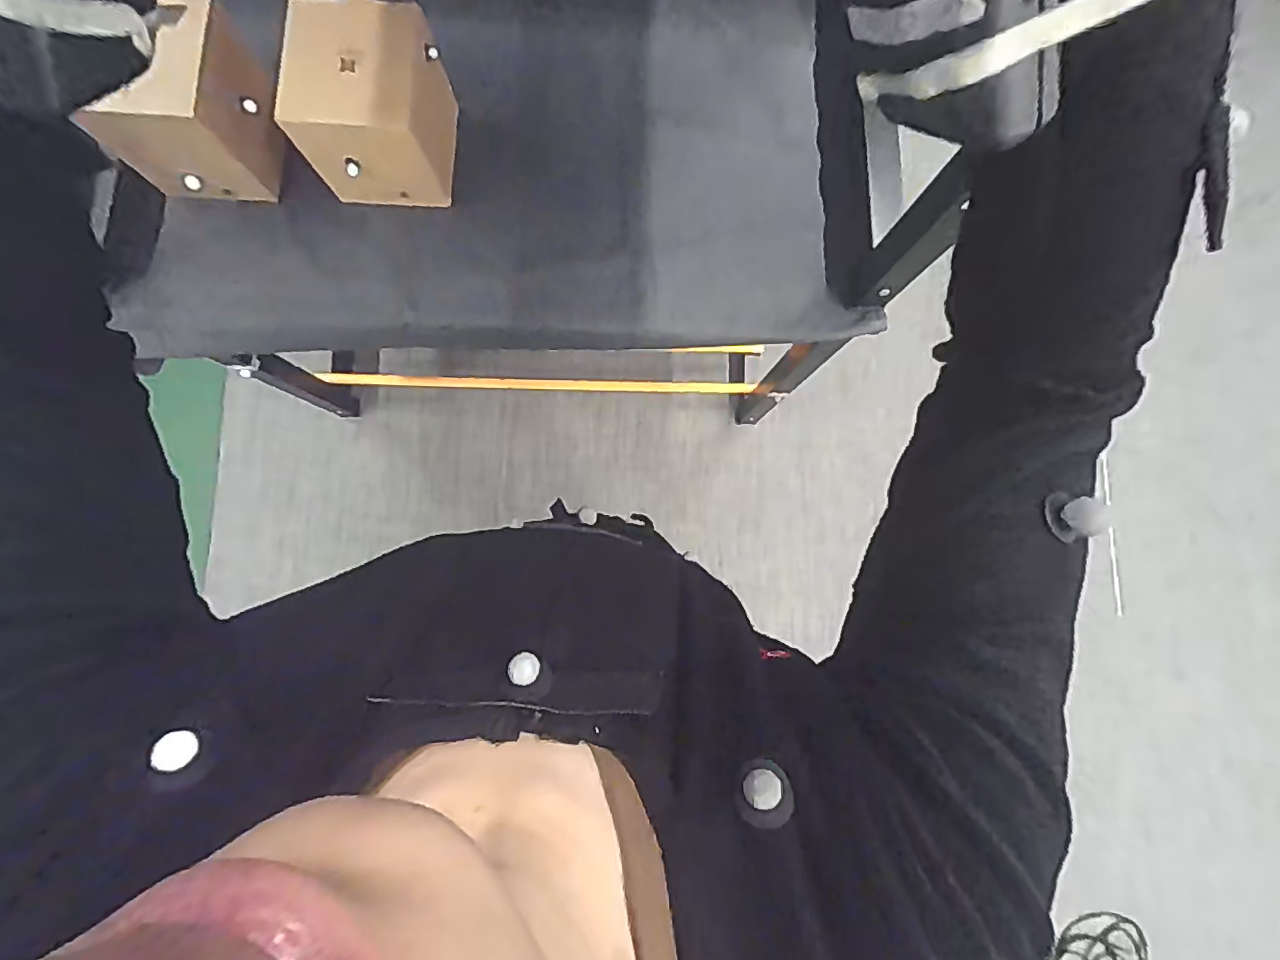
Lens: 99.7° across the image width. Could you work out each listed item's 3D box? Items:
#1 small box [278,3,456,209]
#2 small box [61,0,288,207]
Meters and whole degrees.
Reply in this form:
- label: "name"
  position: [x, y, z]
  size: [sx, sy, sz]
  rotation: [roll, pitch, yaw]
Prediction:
- label: "small box"
  position: [-0.367, -0.509, 0.759]
  size: [0.168, 0.176, 0.179]
  rotation: [1, 83, -2]
- label: "small box"
  position: [-0.620, -0.513, 0.746]
  size: [0.168, 0.176, 0.179]
  rotation: [2, 83, -2]
